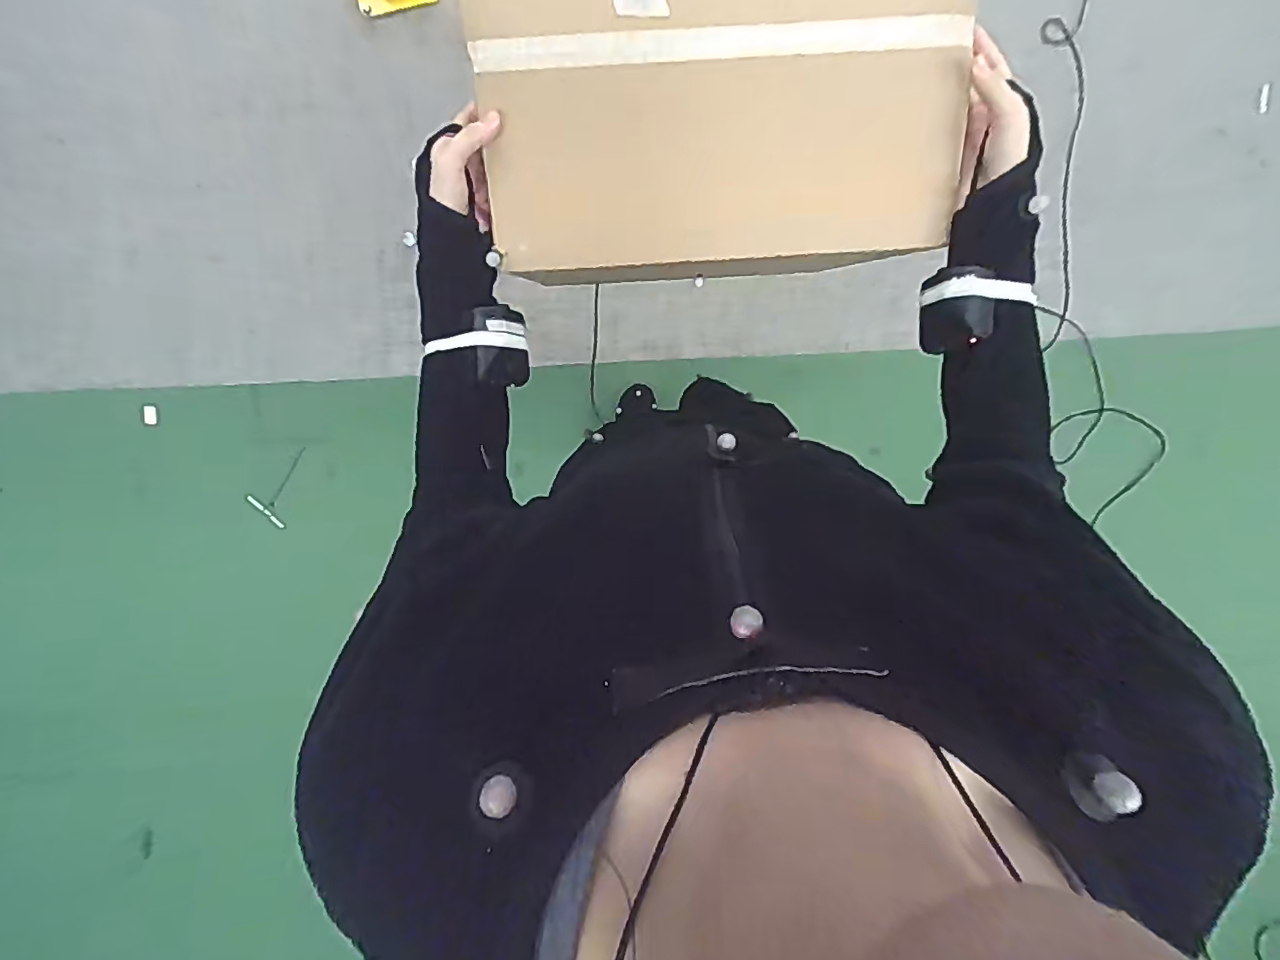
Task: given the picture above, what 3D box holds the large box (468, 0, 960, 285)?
[{"bbox_3d":[0.061,-0.394,0.589,0.408,0.320,0.320,-4,107,-1],"label":"large box"}]
